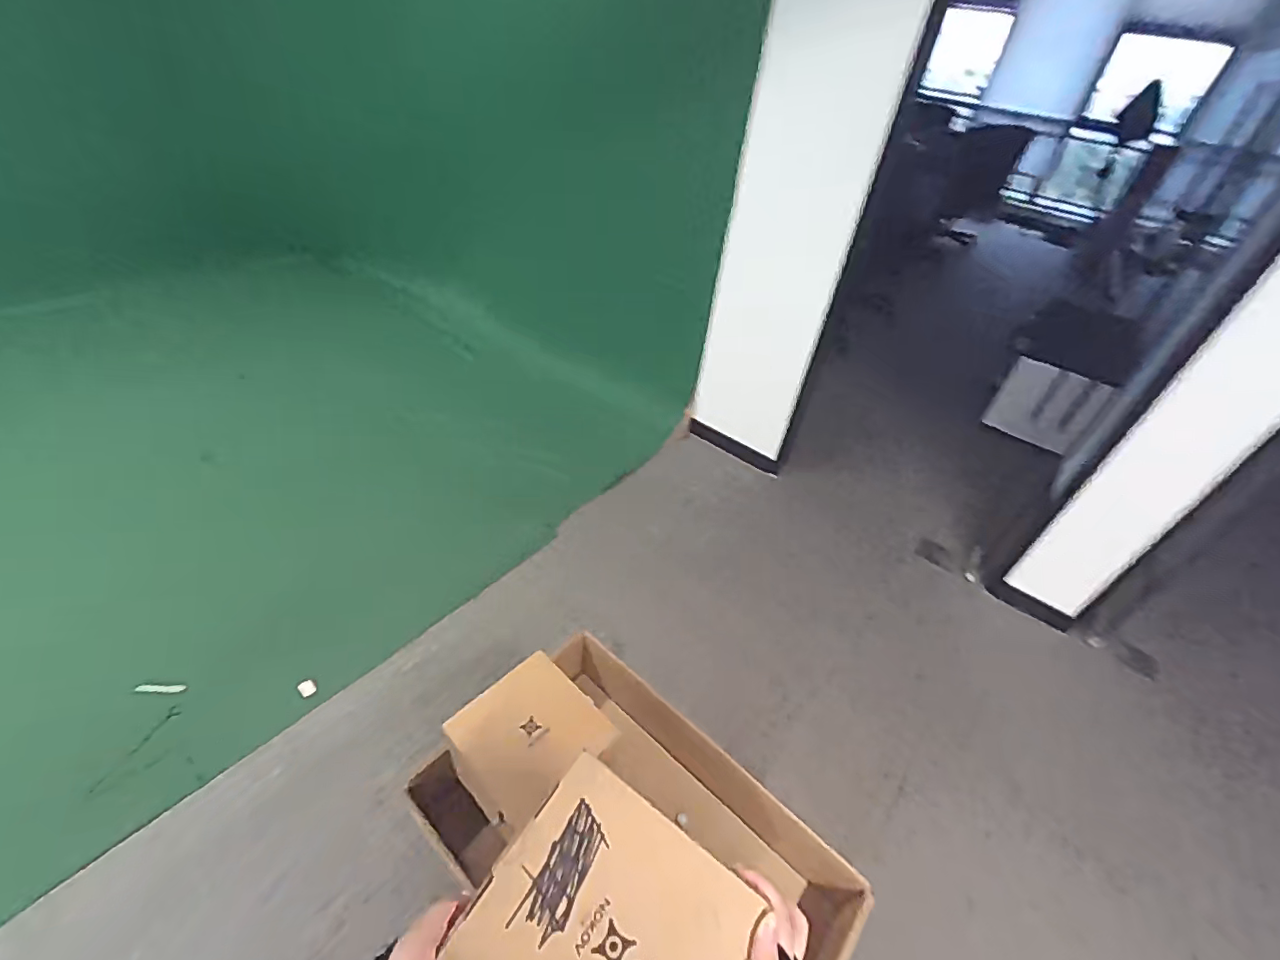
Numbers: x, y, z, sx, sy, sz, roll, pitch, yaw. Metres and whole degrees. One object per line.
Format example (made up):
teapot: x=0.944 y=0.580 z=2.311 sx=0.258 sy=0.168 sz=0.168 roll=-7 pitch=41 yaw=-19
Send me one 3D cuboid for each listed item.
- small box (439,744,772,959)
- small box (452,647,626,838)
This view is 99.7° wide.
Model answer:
small box: x=-0.022 y=0.353 z=0.440 sx=0.179 sy=0.176 sz=0.168 roll=31 pitch=62 yaw=18
small box: x=-0.143 y=0.385 z=0.770 sx=0.179 sy=0.176 sz=0.168 roll=36 pitch=50 yaw=28
